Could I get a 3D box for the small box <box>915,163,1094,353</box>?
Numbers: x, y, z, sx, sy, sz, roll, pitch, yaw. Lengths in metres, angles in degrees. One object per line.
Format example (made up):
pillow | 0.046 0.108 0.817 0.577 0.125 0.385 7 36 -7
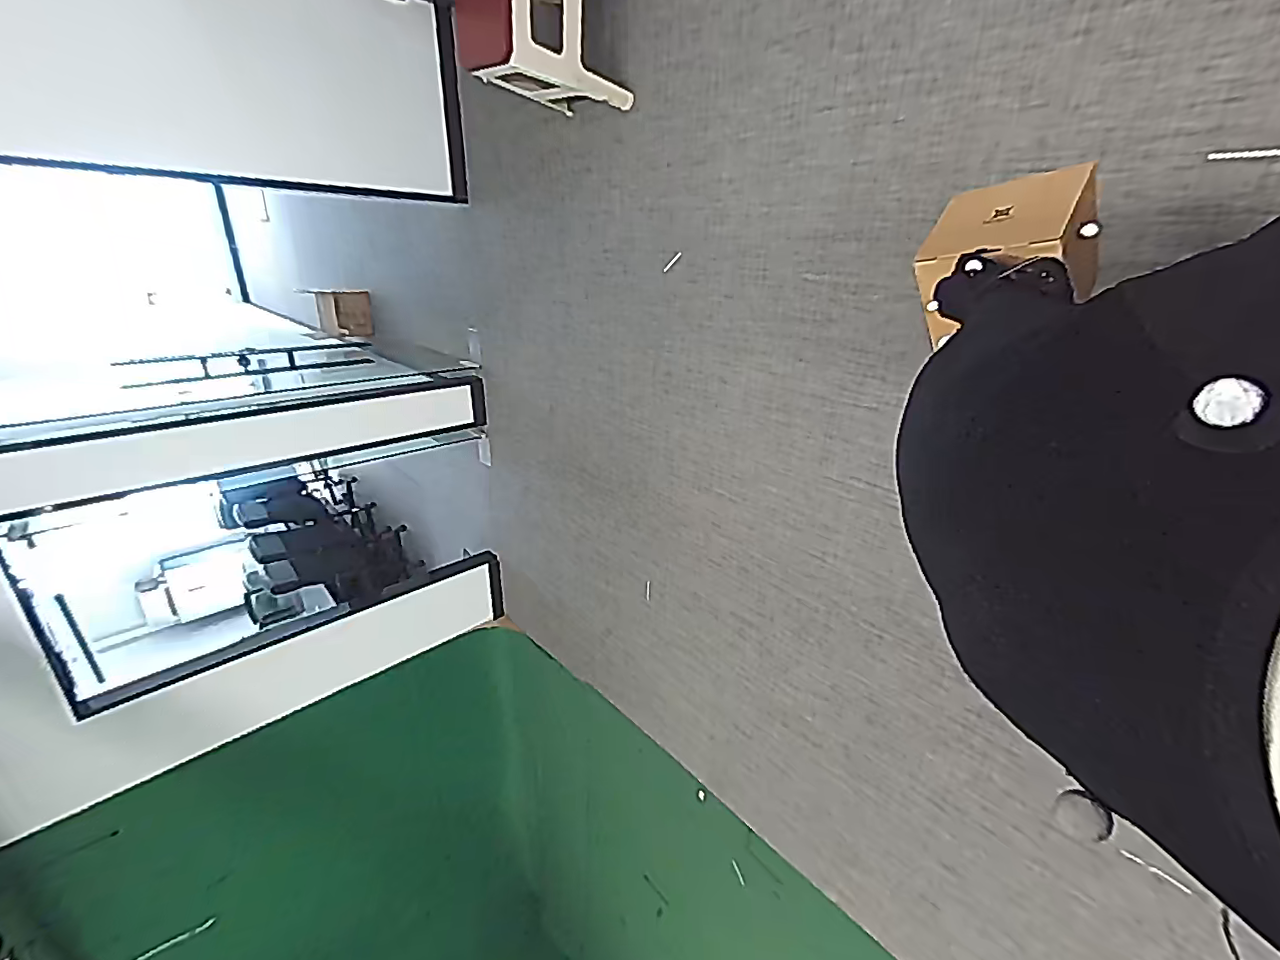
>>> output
small box | 0.519 -0.301 0.765 0.168 0.179 0.176 10 146 47
